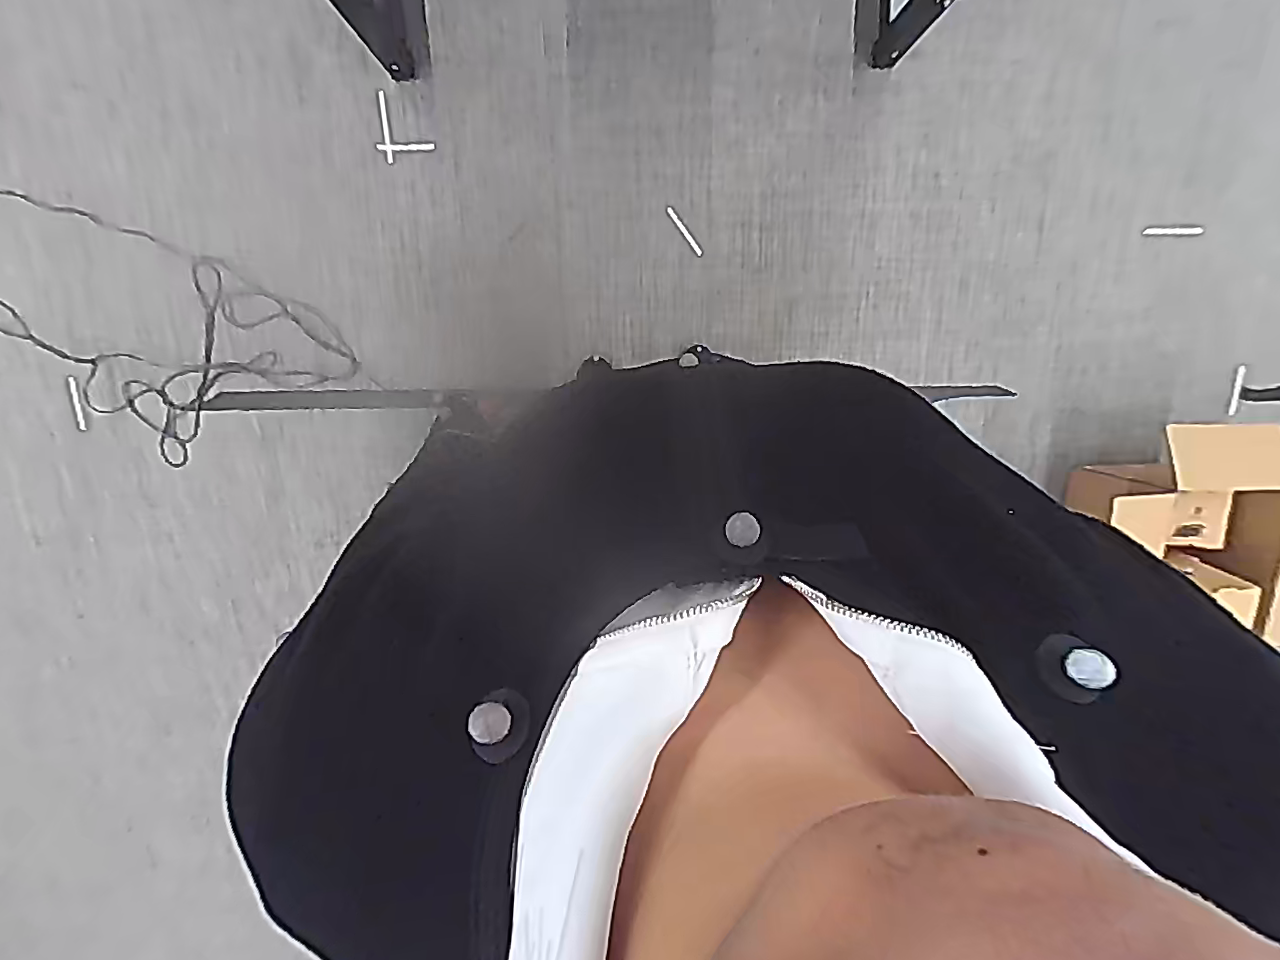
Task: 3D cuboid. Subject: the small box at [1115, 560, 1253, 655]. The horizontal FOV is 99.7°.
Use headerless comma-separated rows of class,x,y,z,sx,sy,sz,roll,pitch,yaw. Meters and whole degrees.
small box,1.350,0.310,1.356,0.168,0.176,0.179,-5,107,-2
